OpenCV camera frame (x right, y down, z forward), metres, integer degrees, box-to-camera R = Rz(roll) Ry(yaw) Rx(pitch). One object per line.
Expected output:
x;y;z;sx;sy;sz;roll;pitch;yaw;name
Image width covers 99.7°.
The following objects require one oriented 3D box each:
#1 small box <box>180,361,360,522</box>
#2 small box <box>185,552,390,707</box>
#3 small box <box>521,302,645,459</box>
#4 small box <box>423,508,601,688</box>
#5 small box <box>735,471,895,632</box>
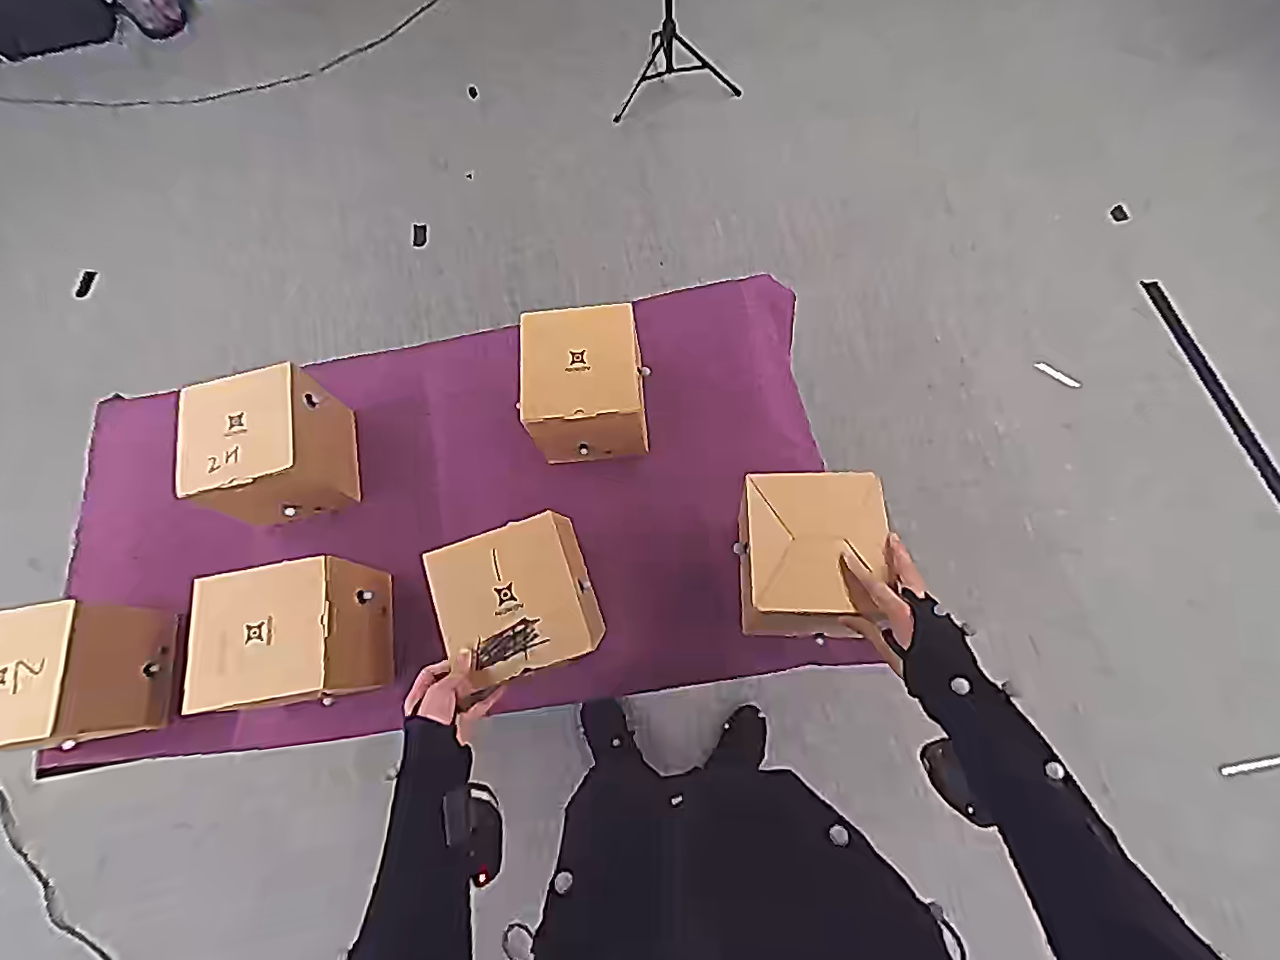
-0.561;-0.053;0.841;0.168;0.176;0.179;-14;71;-1;small box
-0.463;0.206;0.742;0.179;0.176;0.168;-10;70;0;small box
-0.082;-0.147;0.840;0.168;0.176;0.179;-5;72;3;small box
-0.158;0.149;0.722;0.168;0.176;0.179;-19;81;-2;small box
0.218;0.098;0.715;0.168;0.176;0.179;-1;64;6;small box
